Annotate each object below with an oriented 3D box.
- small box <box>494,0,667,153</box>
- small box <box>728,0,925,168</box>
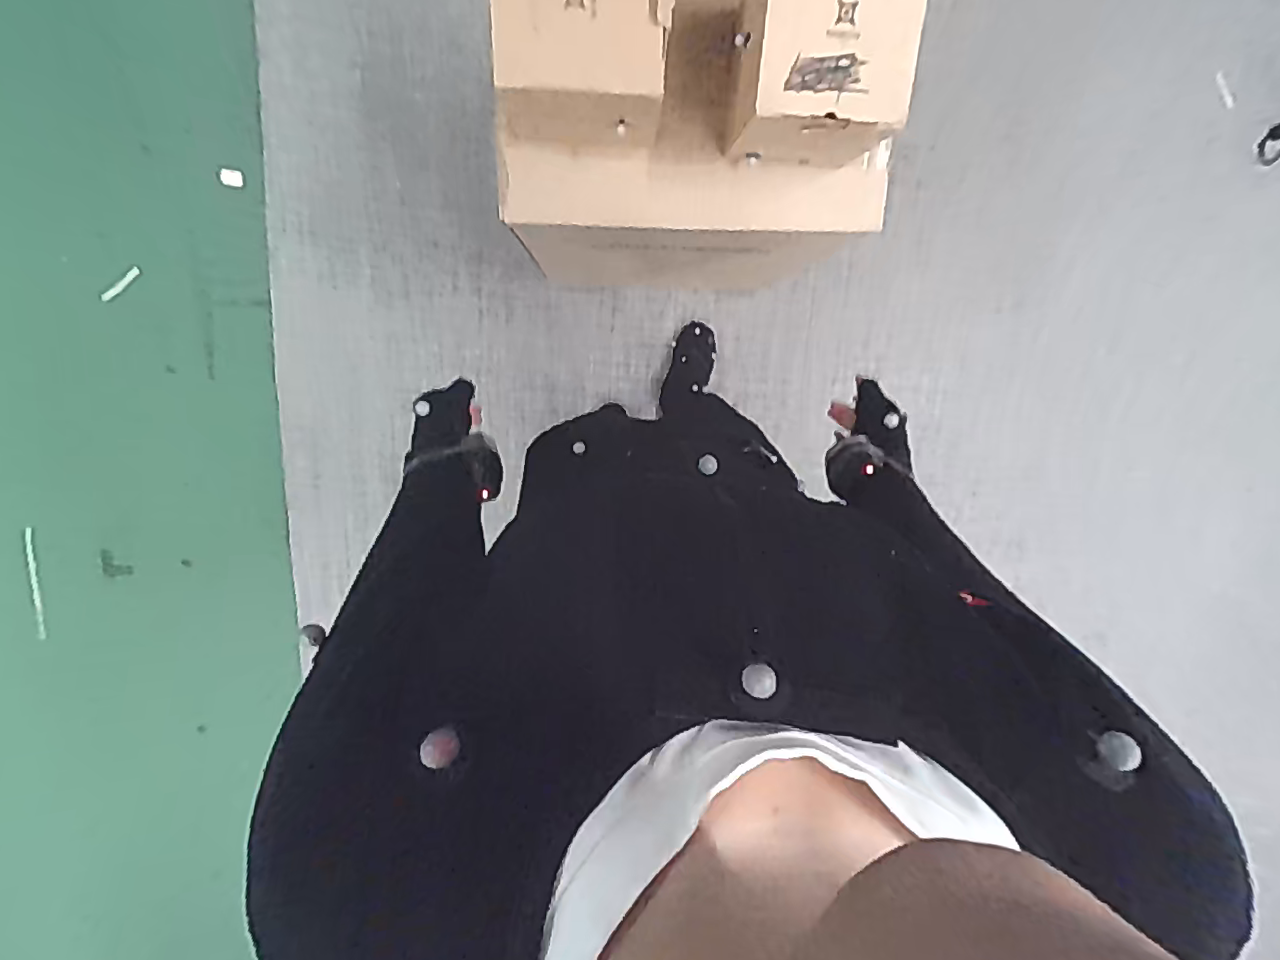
[{"bbox_3d":[-0.062,-0.496,0.621,0.179,0.176,0.168,0,104,-1],"label":"small box"},{"bbox_3d":[0.203,-0.485,0.631,0.168,0.176,0.179,3,105,-3],"label":"small box"}]
